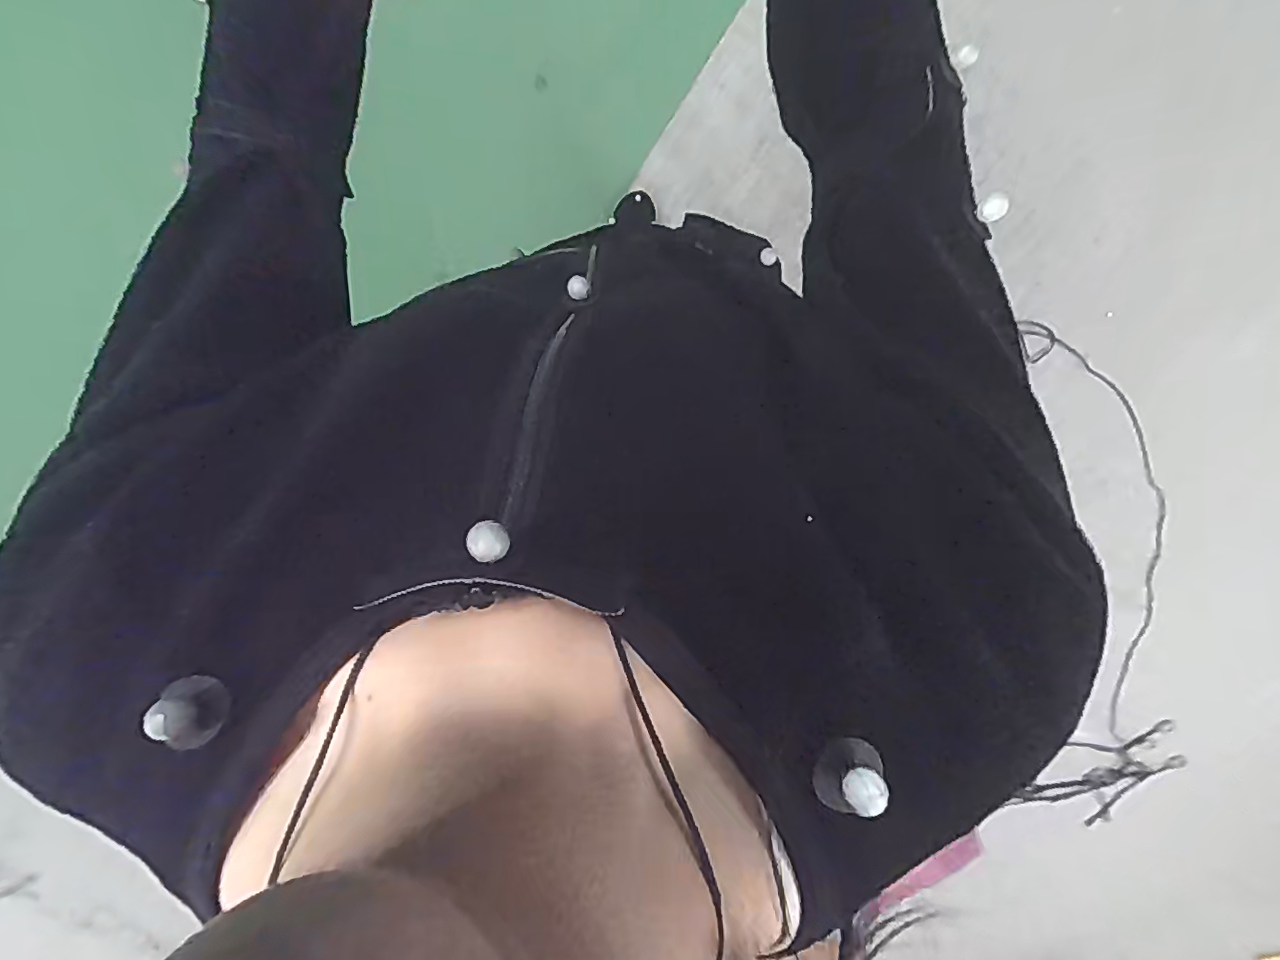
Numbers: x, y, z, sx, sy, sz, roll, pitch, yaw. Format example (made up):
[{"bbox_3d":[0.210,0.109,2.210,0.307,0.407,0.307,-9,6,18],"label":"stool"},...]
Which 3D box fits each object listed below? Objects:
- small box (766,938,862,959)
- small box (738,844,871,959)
[{"bbox_3d":[0.302,0.917,0.906,0.179,0.176,0.168,28,111,-9],"label":"small box"},{"bbox_3d":[0.313,0.858,1.056,0.179,0.176,0.168,30,112,-9],"label":"small box"}]
